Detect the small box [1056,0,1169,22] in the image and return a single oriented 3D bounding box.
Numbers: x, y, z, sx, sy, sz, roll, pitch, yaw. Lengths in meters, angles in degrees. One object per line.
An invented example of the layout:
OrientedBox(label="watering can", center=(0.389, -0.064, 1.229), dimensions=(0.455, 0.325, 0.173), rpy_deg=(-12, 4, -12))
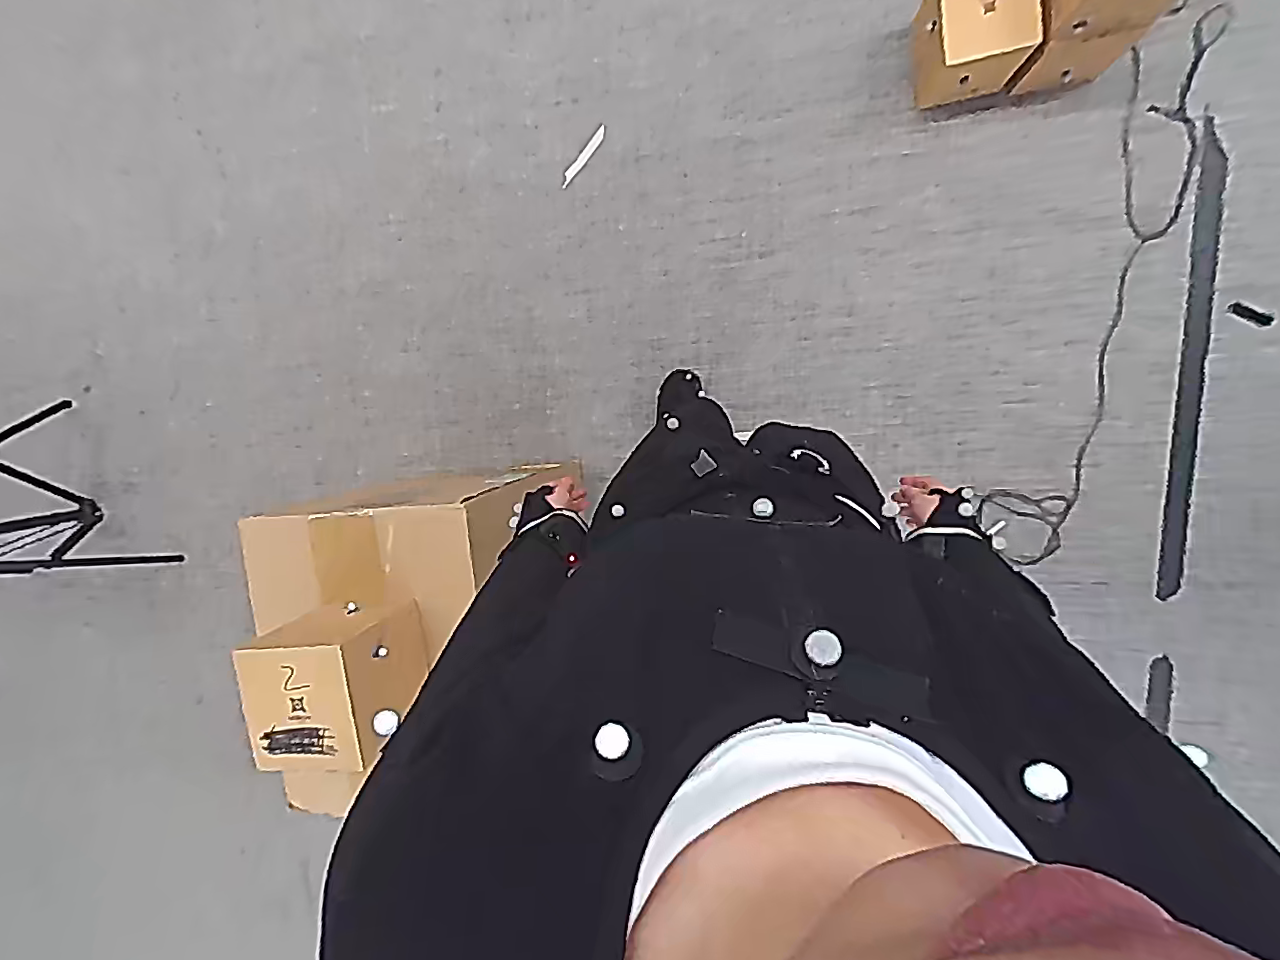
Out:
OrientedBox(label="small box", center=(0.801, -0.876, 0.860), dimensions=(0.168, 0.176, 0.179), rpy_deg=(-1, 97, 10))
